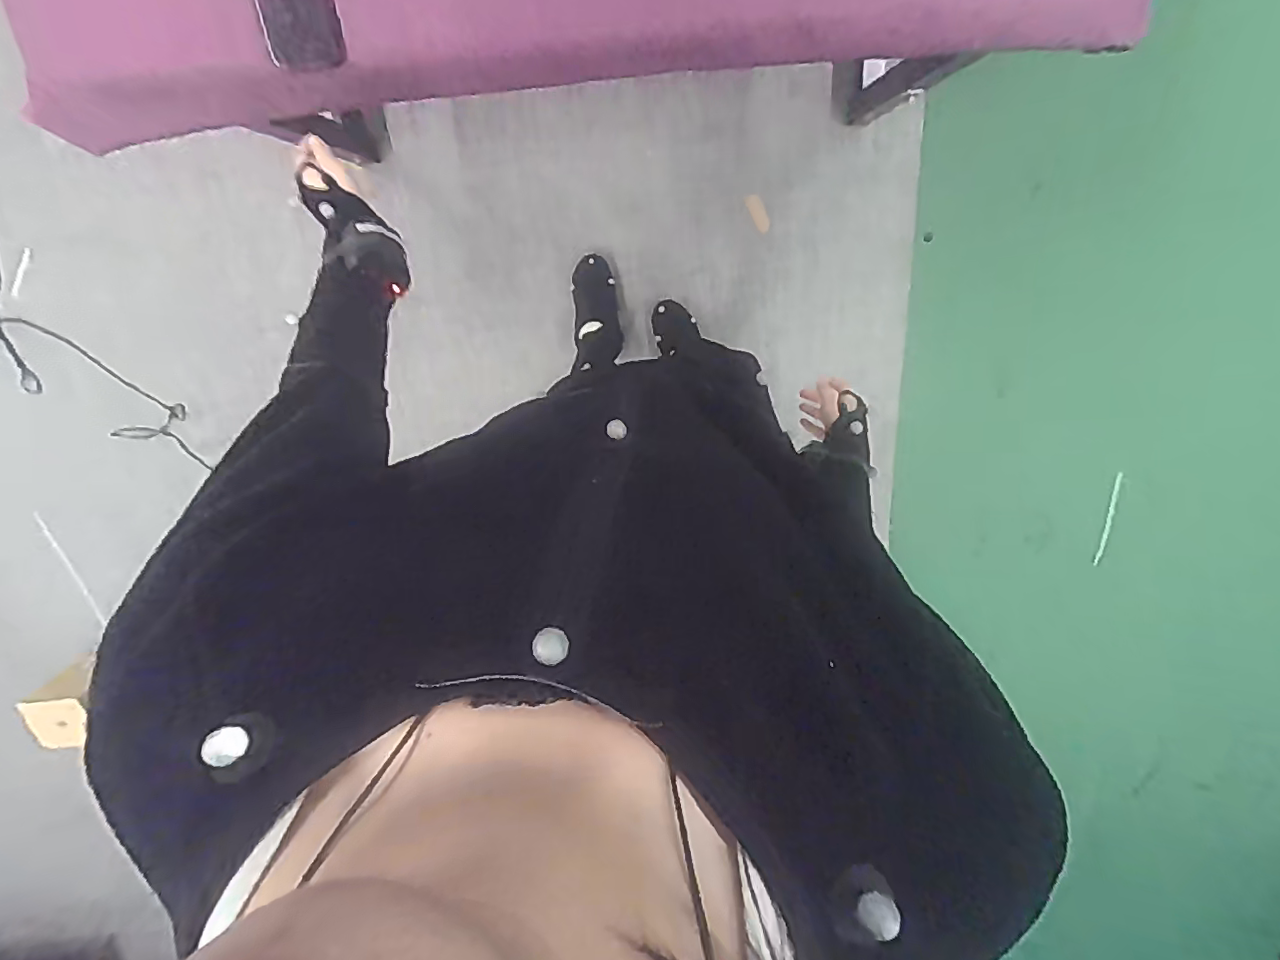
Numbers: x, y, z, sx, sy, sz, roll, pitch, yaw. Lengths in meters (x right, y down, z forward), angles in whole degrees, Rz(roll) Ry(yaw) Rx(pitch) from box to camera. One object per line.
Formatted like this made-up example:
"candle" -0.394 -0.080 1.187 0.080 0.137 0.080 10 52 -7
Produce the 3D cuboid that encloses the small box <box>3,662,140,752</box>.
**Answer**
"small box" -1.591 0.635 1.526 0.179 0.176 0.168 -4 113 2
